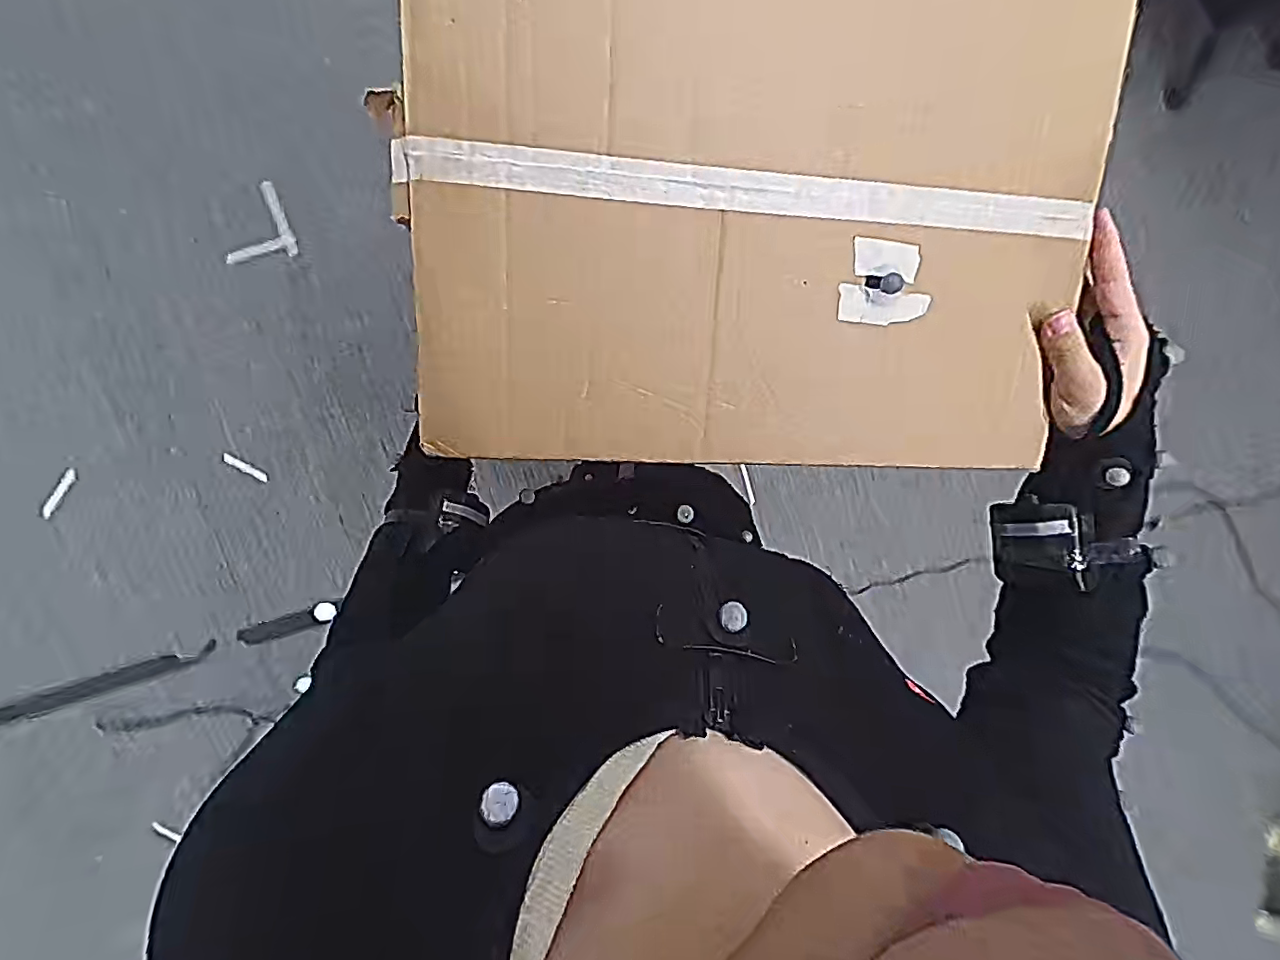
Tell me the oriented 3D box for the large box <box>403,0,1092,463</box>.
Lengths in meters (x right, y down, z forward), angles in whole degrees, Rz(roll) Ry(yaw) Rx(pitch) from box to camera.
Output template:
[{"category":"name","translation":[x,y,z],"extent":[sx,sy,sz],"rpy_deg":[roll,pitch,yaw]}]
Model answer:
[{"category":"large box","translation":[0.050,-0.197,0.464],"extent":[0.408,0.320,0.320],"rpy_deg":[-1,103,-10]}]
